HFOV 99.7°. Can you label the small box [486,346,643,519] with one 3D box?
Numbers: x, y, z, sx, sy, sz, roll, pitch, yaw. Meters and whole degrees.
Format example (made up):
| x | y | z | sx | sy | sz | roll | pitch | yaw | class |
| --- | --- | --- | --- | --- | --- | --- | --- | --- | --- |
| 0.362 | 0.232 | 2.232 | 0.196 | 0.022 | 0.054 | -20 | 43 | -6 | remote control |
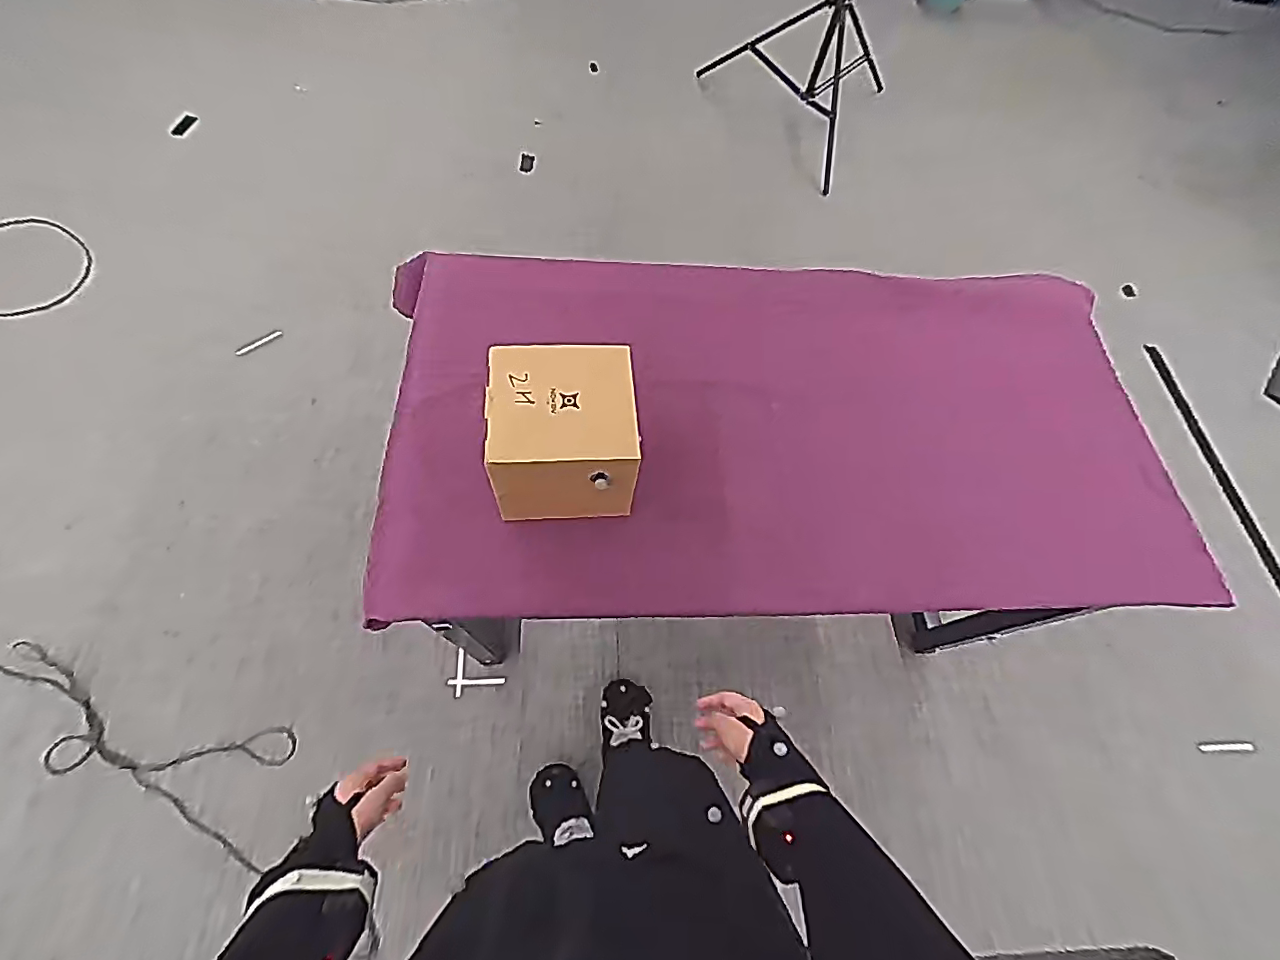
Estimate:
| x | y | z | sx | sy | sz | roll | pitch | yaw | class |
| --- | --- | --- | --- | --- | --- | --- | --- | --- | --- |
| -0.097 | -0.056 | 0.708 | 0.179 | 0.176 | 0.168 | -2 | 63 | -7 | small box |
